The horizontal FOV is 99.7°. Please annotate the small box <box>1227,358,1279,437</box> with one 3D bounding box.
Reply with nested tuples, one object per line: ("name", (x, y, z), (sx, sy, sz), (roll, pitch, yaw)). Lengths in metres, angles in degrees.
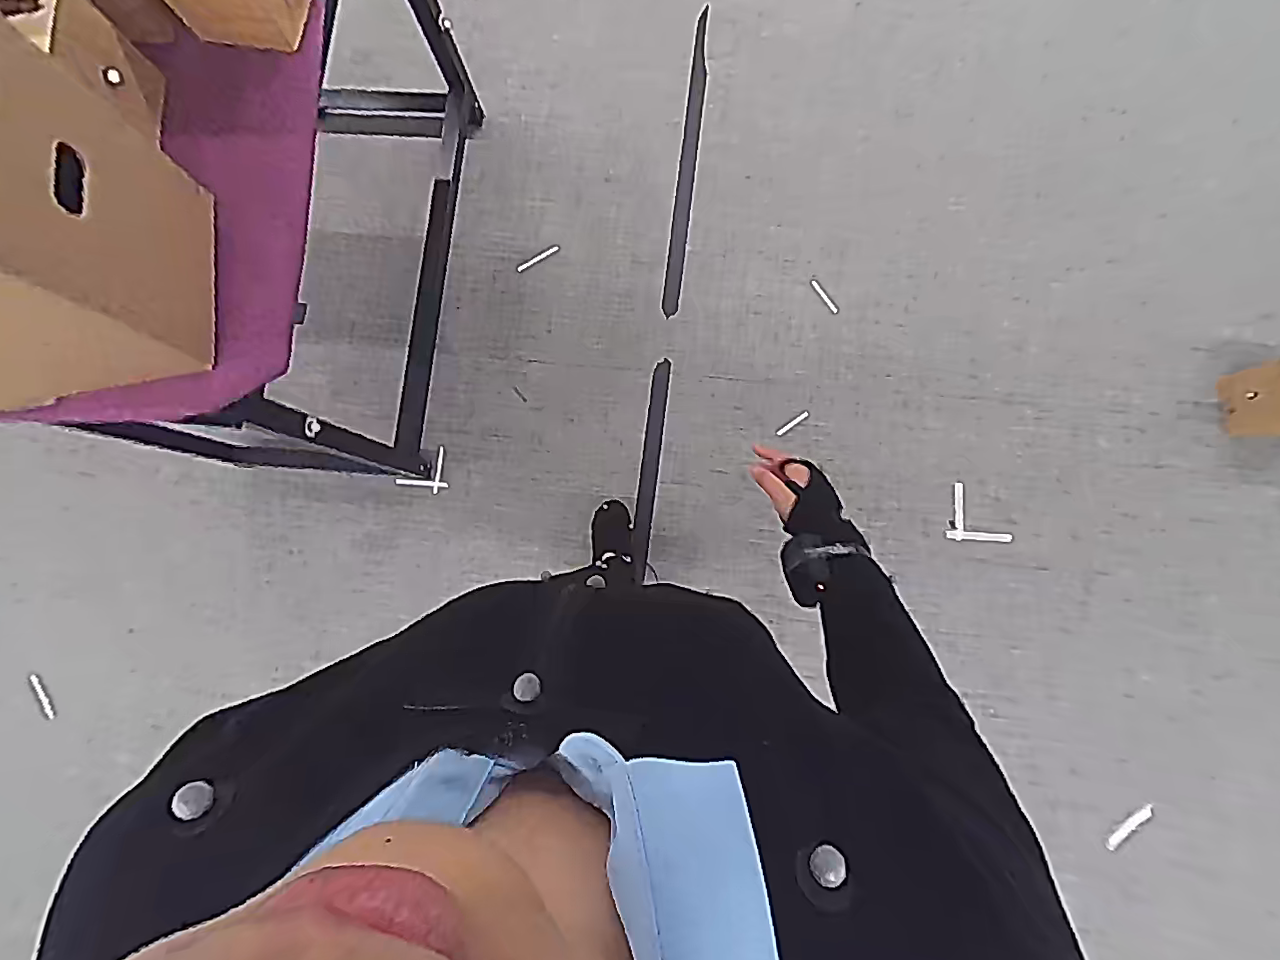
("small box", (1.698, -0.213, 1.411), (0.179, 0.176, 0.168), (4, 82, 2))
